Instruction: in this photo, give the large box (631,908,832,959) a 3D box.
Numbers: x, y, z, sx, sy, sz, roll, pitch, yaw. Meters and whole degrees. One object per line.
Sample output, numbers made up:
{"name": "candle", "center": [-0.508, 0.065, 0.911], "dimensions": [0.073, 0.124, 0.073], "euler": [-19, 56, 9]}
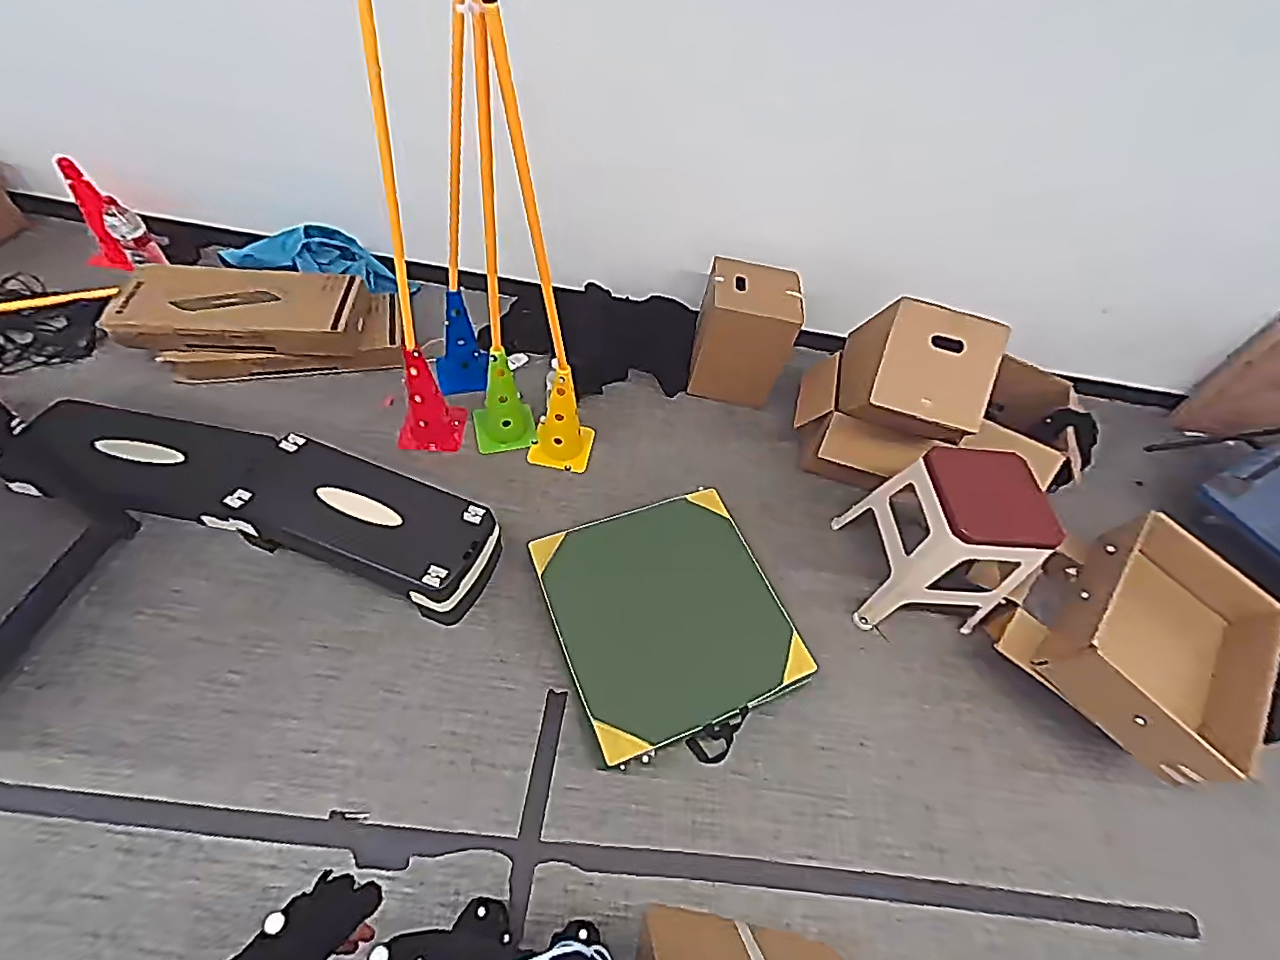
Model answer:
{"name": "large box", "center": [0.136, 0.808, 0.634], "dimensions": [0.320, 0.408, 0.320], "euler": [13, 75, -2]}
